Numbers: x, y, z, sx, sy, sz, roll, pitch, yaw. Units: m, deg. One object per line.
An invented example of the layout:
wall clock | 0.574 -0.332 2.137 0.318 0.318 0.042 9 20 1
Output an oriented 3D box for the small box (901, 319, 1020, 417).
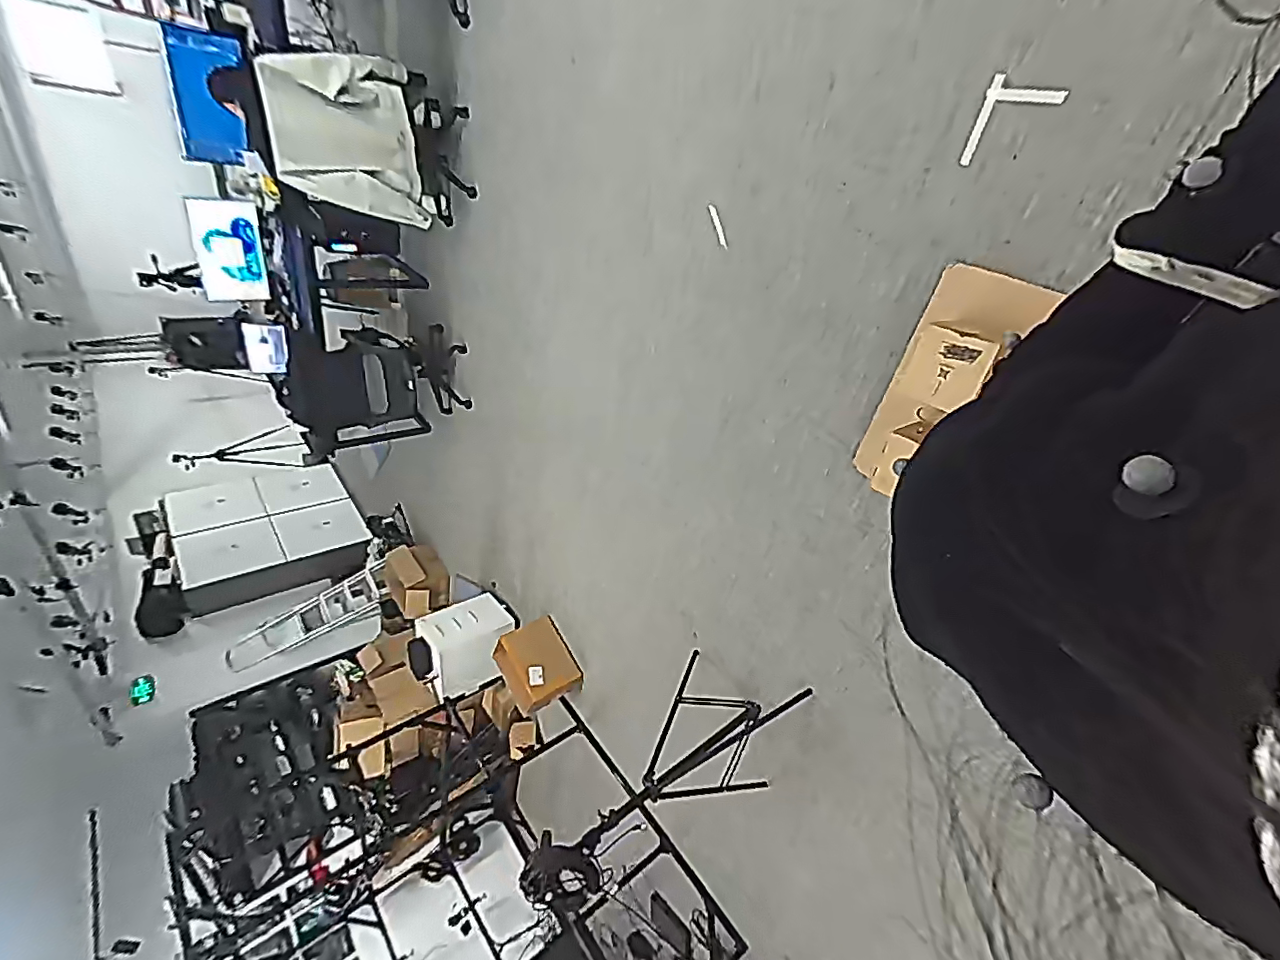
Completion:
small box | 0.758 -0.272 1.274 0.168 0.176 0.179 37 129 37

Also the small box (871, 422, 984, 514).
small box | 0.738 -0.040 1.389 0.179 0.176 0.168 33 129 38
